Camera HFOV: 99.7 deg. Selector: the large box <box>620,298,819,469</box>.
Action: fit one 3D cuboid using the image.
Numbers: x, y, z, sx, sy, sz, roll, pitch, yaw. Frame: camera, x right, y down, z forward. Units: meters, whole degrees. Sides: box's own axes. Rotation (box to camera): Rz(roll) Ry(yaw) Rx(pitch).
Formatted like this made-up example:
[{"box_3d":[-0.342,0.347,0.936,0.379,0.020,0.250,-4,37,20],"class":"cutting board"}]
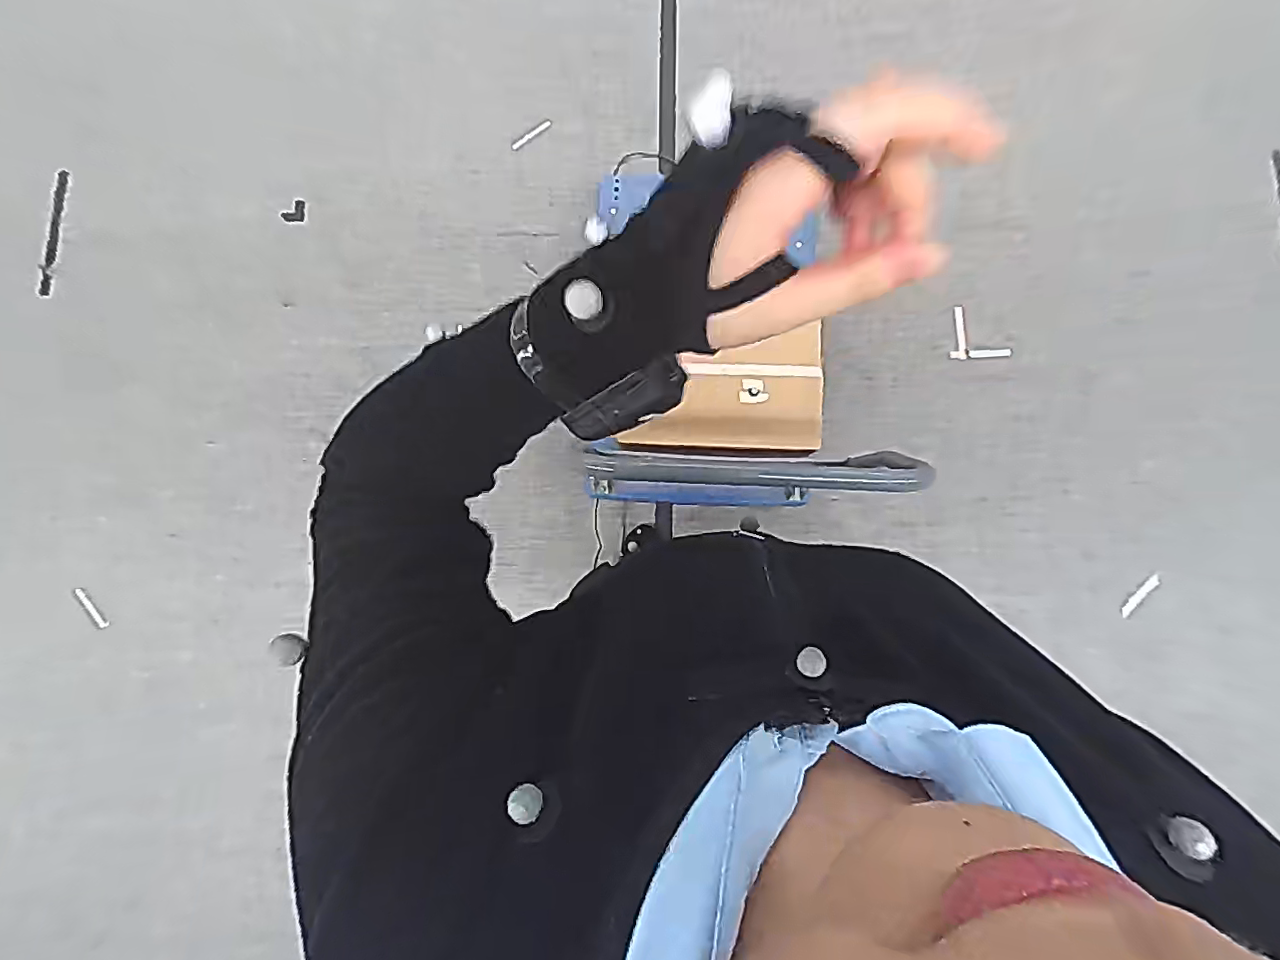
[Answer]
[{"box_3d":[0.159,-0.199,1.236,0.408,0.320,0.320,2,84,0],"class":"large box"}]
